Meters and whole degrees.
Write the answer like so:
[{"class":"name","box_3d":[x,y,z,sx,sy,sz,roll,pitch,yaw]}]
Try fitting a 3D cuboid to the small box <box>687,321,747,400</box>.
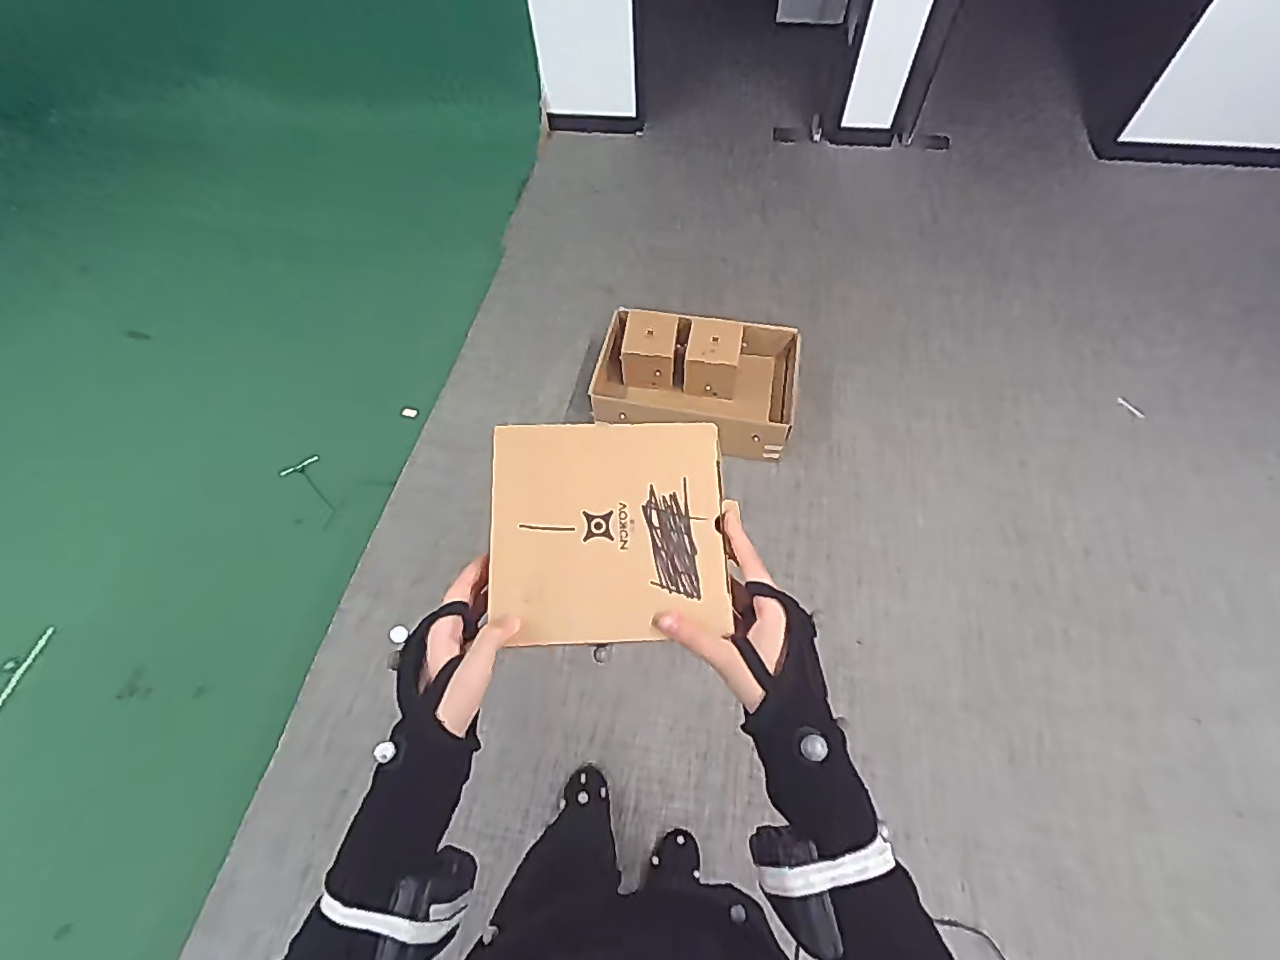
[{"class":"small box","box_3d":[0.245,-0.385,1.749,0.168,0.176,0.179,8,61,10]}]
